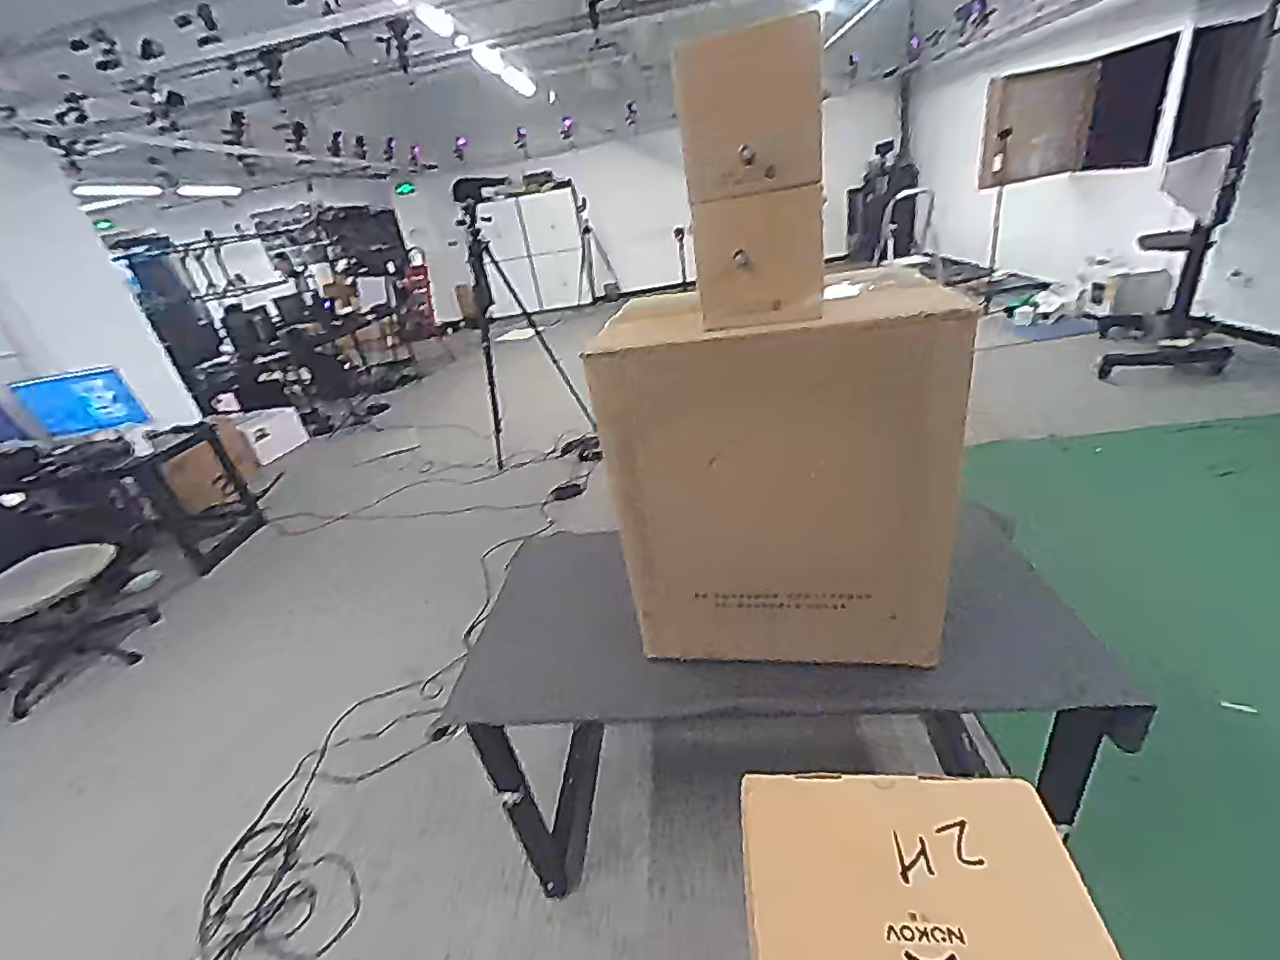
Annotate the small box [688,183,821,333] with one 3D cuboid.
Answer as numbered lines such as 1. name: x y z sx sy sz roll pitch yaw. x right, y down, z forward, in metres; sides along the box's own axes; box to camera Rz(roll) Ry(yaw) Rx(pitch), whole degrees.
1. small box: 0.171 -0.317 0.783 0.168 0.176 0.179 -2 30 15

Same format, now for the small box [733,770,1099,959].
1. small box: 0.142 0.294 0.305 0.168 0.176 0.179 -3 34 8
